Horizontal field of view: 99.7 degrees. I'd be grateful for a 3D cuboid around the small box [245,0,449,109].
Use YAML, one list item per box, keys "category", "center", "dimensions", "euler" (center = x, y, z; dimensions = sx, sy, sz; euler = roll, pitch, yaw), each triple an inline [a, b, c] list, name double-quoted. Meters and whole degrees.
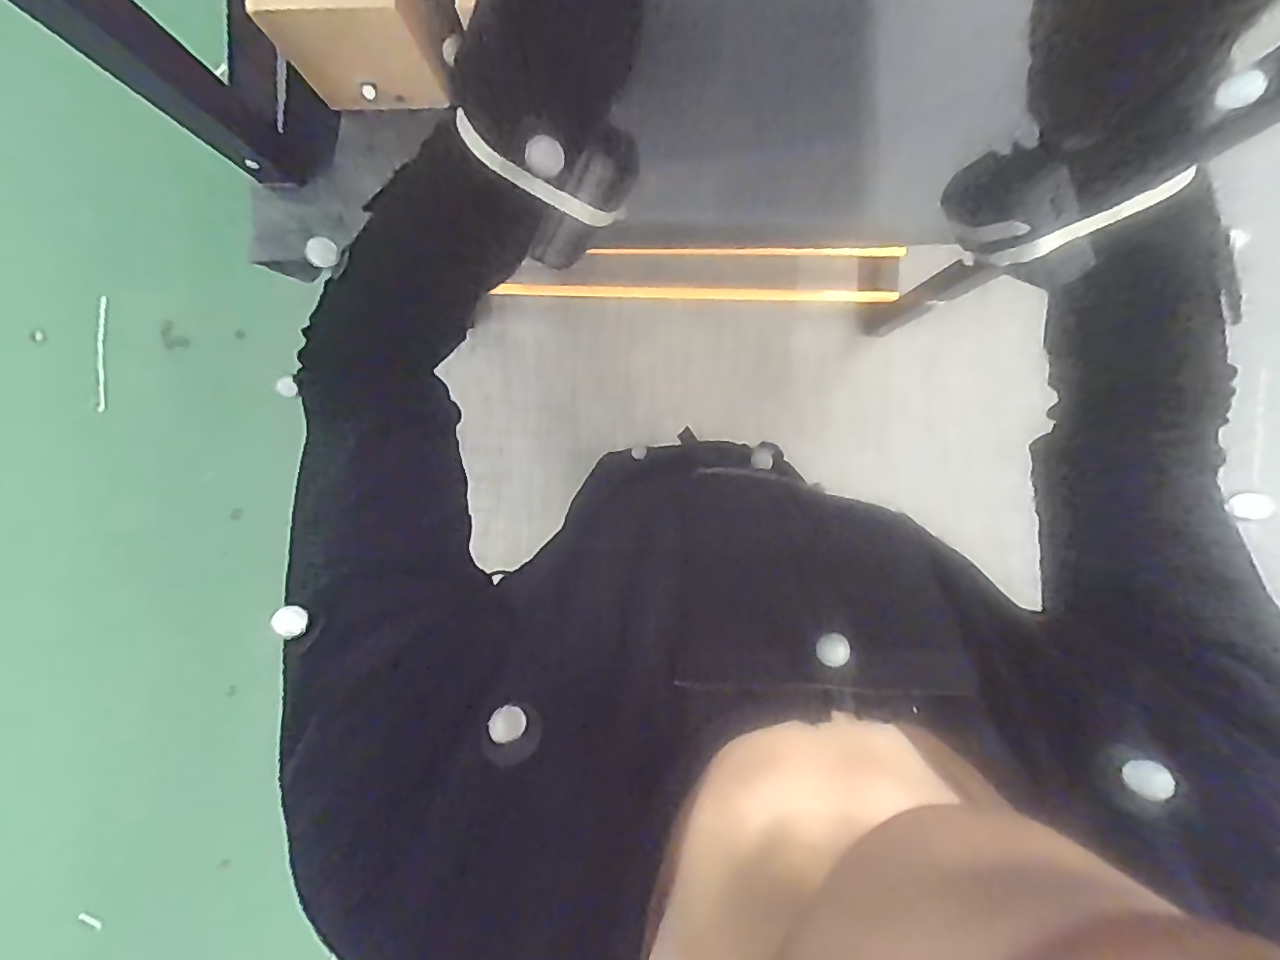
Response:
- category: "small box"
  center: [-0.341, -0.592, 0.653]
  dimensions: [0.168, 0.176, 0.179]
  euler: [-1, 92, 1]
